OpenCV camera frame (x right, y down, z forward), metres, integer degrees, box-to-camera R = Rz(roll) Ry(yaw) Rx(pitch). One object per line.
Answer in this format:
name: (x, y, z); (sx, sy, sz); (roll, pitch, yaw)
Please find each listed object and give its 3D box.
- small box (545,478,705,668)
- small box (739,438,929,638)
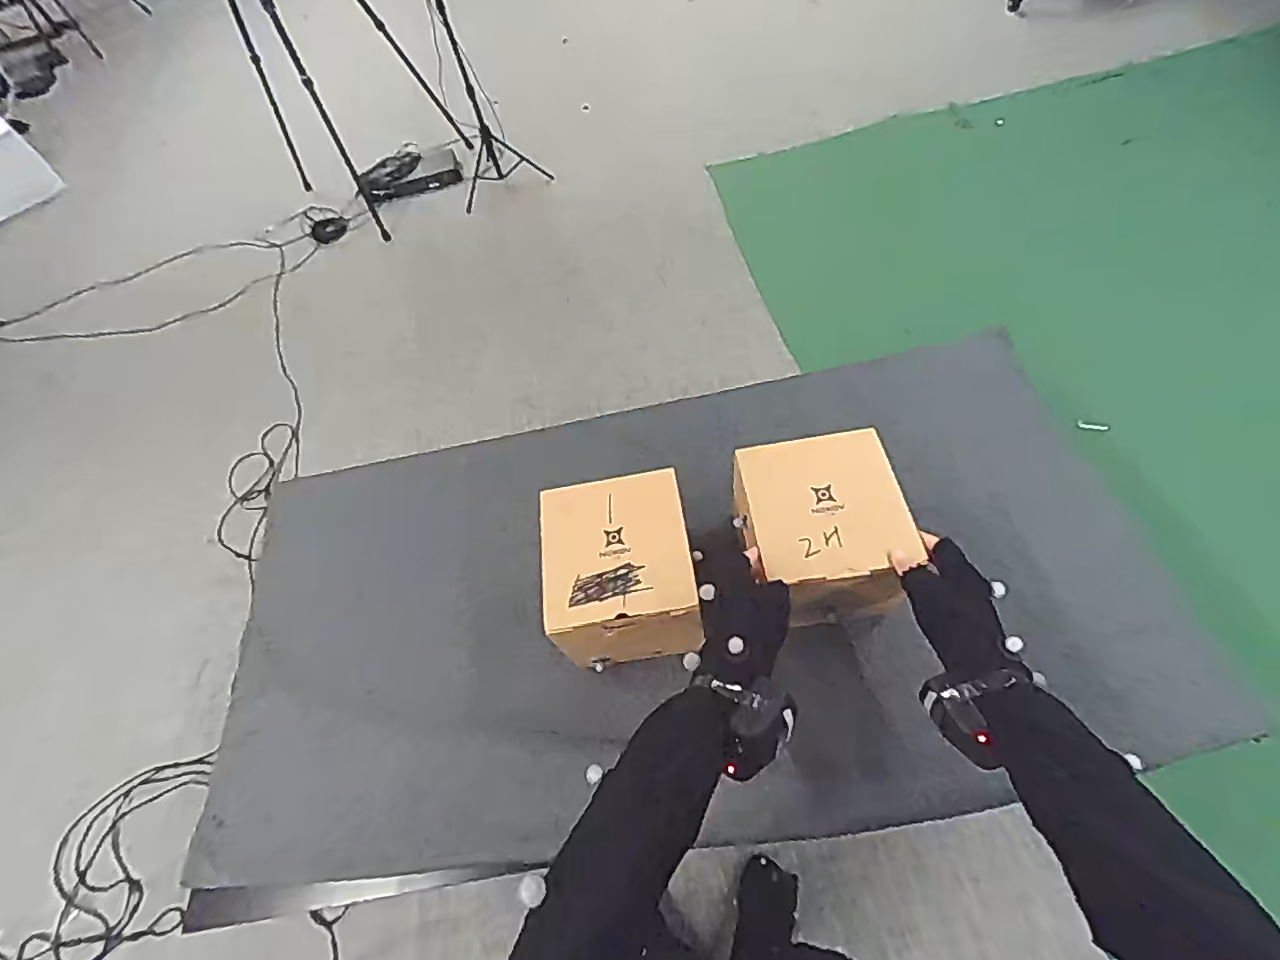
small box: (-0.015, 0.124, 0.670); (0.168, 0.176, 0.179); (-10, 56, 3)
small box: (0.216, 0.076, 0.661); (0.168, 0.176, 0.179); (-9, 58, 5)
